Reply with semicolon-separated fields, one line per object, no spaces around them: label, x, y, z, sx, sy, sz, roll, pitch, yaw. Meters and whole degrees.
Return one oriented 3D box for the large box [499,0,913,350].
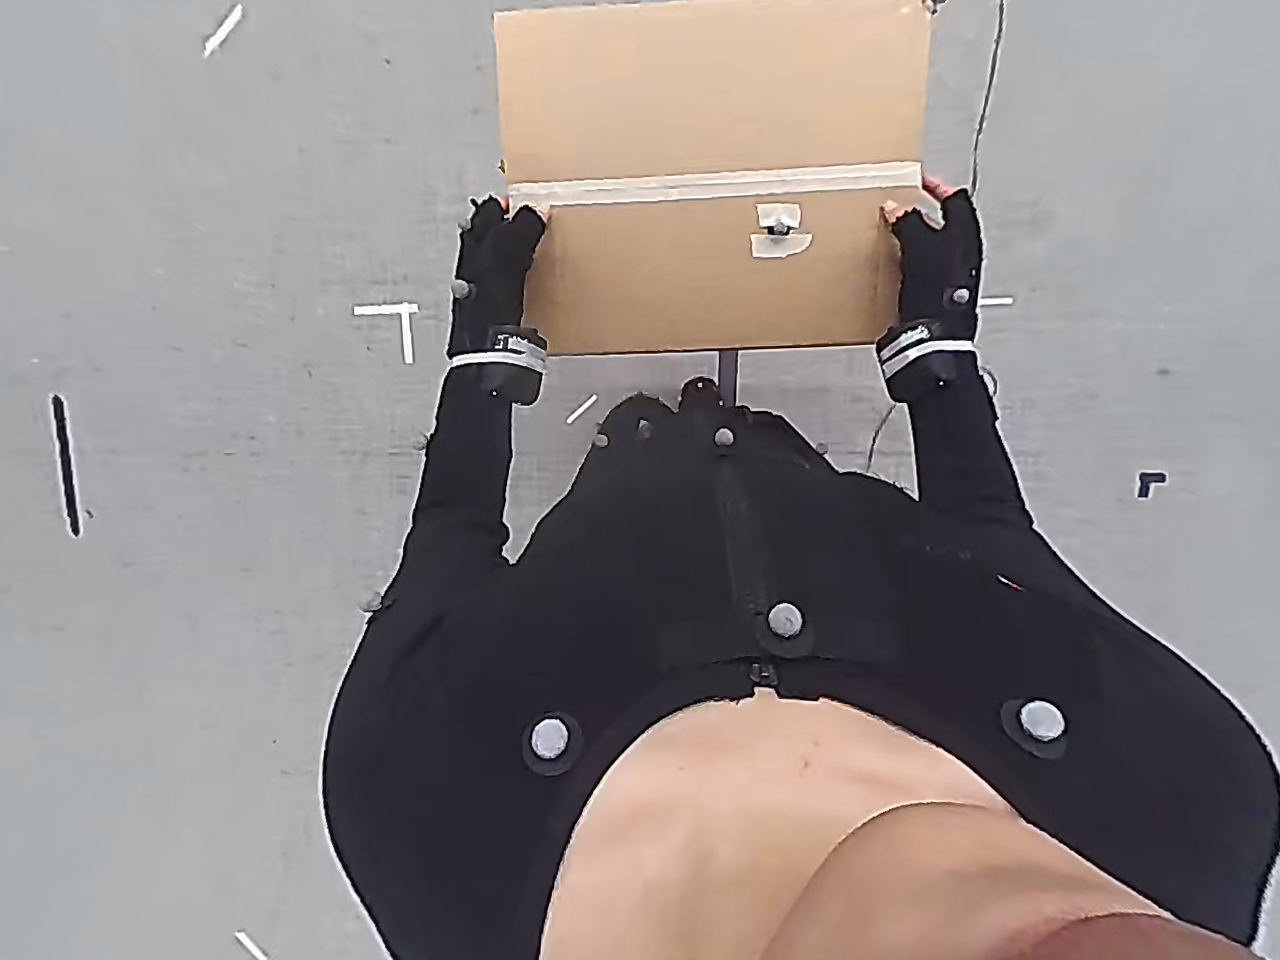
large box;0.070;-0.339;0.692;0.408;0.320;0.320;-3;104;1
